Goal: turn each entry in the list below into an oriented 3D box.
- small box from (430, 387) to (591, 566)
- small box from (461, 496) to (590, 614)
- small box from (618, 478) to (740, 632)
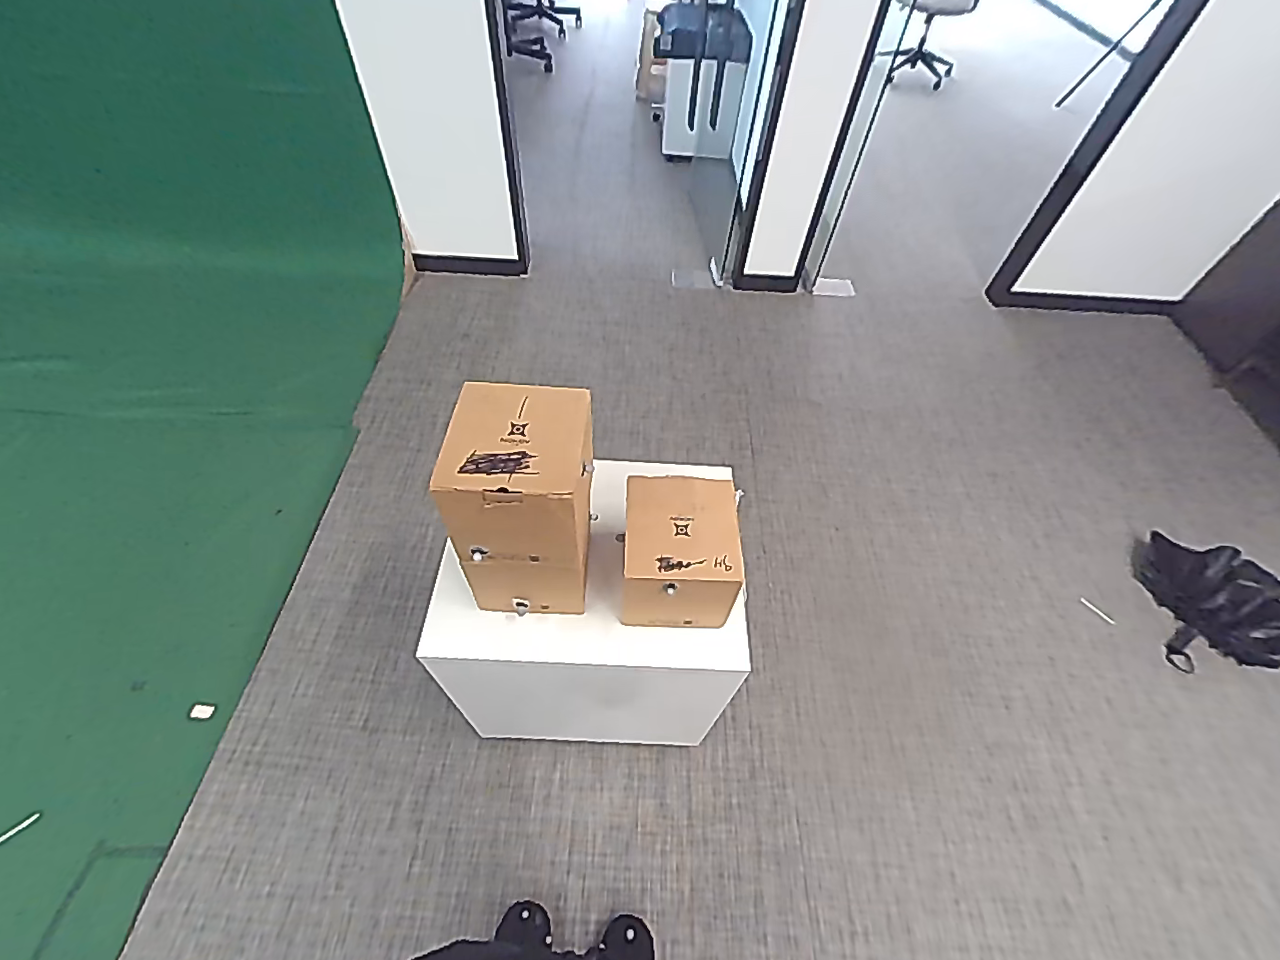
[{"bbox_3d":[-0.156,0.000,0.724,0.168,0.176,0.179,4,51,0],"label":"small box"},{"bbox_3d":[-0.165,0.091,0.841,0.168,0.176,0.179,1,54,-3],"label":"small box"},{"bbox_3d":[0.053,0.119,0.851,0.168,0.176,0.179,3,52,-2],"label":"small box"}]
